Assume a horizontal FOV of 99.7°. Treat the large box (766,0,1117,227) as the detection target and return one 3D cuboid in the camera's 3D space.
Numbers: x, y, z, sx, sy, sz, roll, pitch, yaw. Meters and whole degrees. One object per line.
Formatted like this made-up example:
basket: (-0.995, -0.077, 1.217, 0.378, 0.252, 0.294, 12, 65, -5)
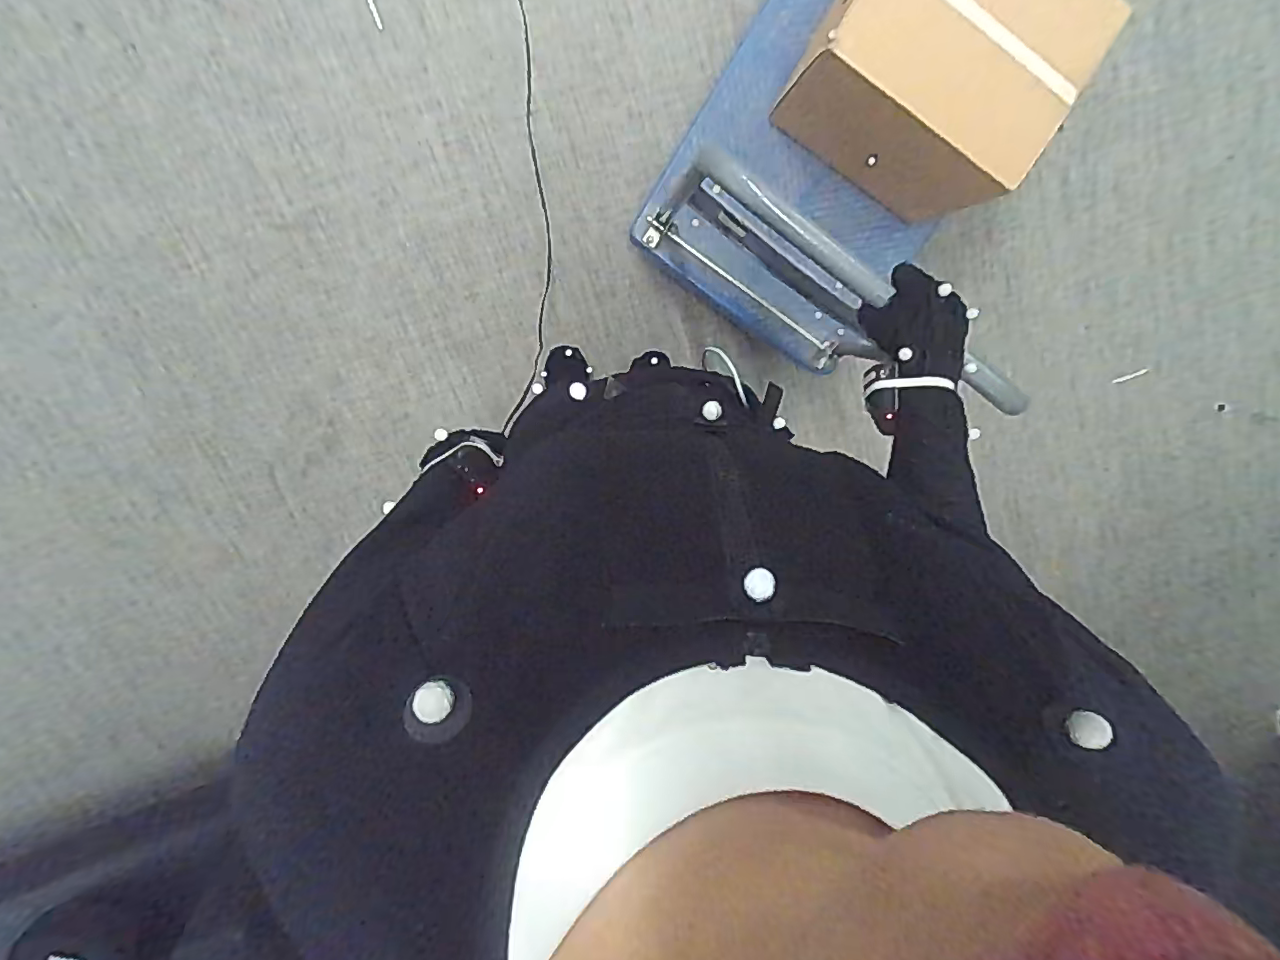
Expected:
large box: (0.517, -0.738, 1.007, 0.408, 0.320, 0.320, 28, 100, -11)
